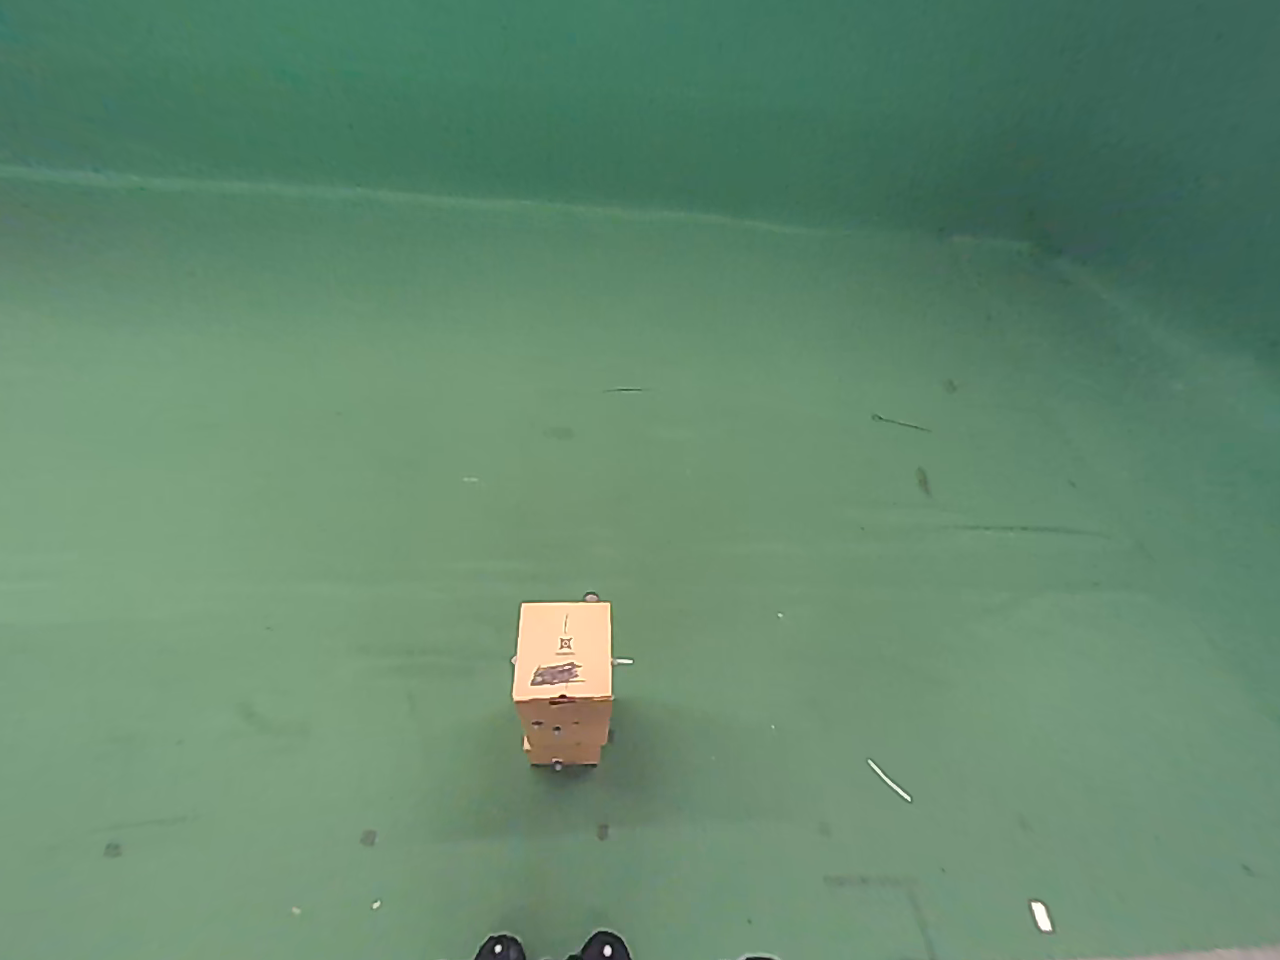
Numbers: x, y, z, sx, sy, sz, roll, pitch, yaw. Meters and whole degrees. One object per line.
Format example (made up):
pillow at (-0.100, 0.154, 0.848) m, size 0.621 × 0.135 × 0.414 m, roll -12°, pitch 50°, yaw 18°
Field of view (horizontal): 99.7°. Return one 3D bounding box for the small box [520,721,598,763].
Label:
small box at (-0.175, 0.537, 1.246) m, size 0.168 × 0.176 × 0.179 m, roll 2°, pitch 52°, yaw -3°

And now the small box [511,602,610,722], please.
small box at (-0.140, 0.343, 1.007) m, size 0.168 × 0.176 × 0.179 m, roll 1°, pitch 51°, yaw -6°

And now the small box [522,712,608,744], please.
small box at (-0.152, 0.444, 1.137) m, size 0.168 × 0.176 × 0.179 m, roll 1°, pitch 51°, yaw -5°
